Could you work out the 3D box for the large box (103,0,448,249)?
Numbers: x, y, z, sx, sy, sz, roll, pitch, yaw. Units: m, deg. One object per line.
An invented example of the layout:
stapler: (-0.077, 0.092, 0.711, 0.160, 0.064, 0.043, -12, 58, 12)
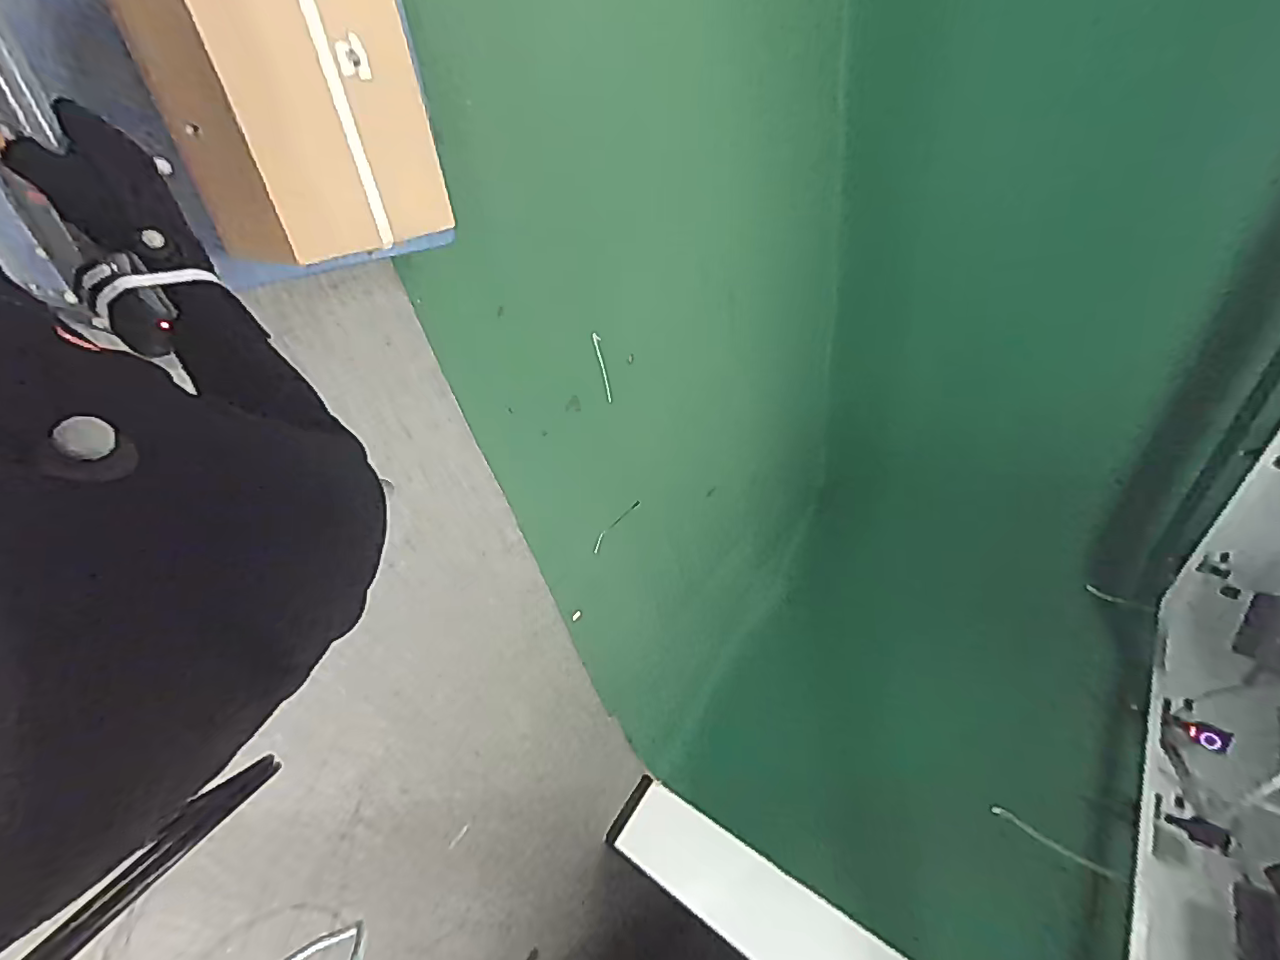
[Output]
large box: (-0.606, -0.651, 0.934, 0.320, 0.320, 0.408, -41, 136, -39)
